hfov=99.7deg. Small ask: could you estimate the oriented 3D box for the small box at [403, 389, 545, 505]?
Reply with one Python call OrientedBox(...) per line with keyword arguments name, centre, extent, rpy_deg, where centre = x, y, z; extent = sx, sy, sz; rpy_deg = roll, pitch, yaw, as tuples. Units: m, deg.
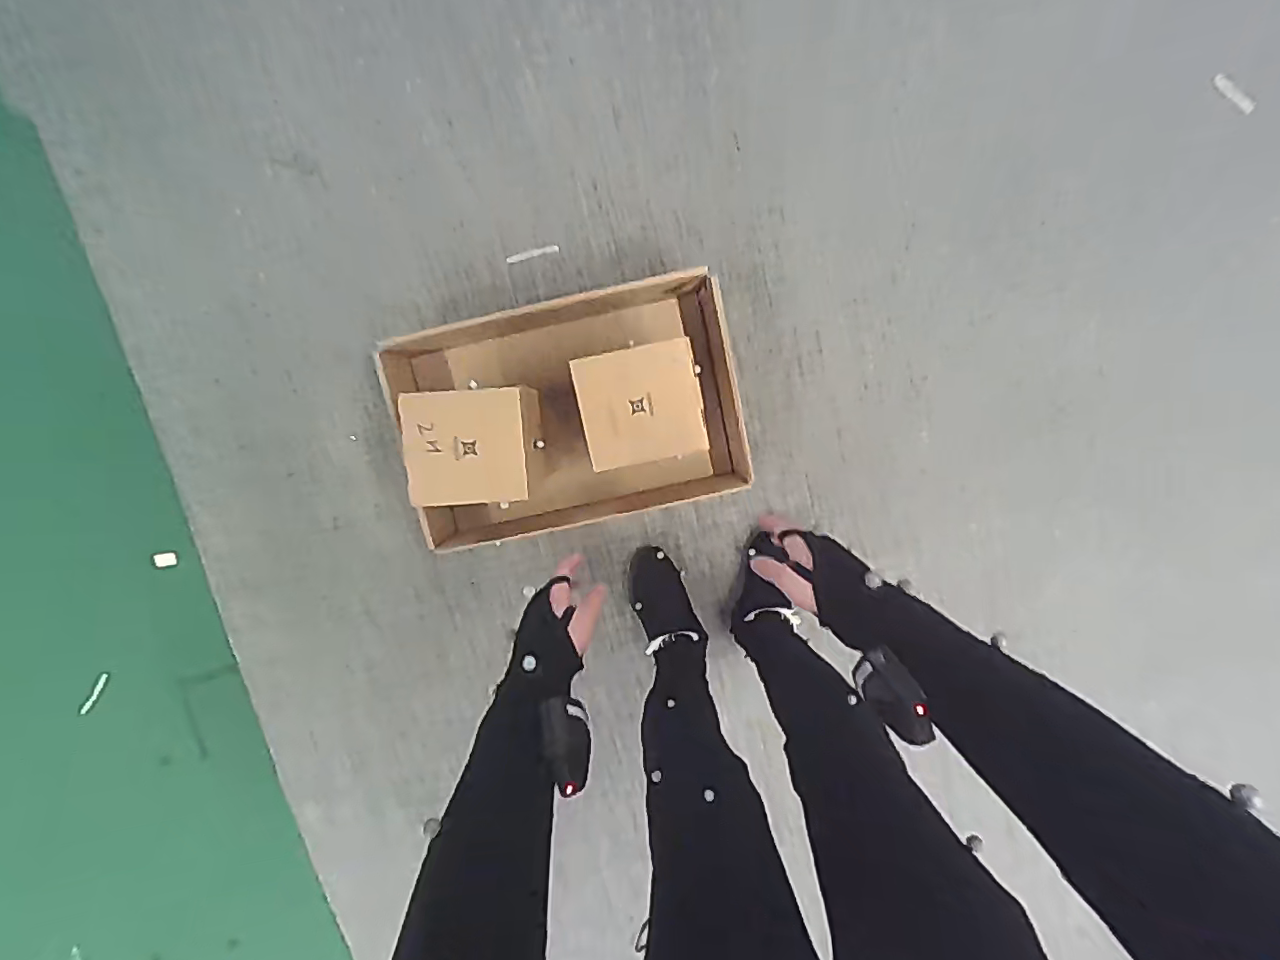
OrientedBox(name="small box", centre=(-0.249, -0.058, 0.857), extent=(0.179, 0.176, 0.168), rpy_deg=(-3, 97, 0))
